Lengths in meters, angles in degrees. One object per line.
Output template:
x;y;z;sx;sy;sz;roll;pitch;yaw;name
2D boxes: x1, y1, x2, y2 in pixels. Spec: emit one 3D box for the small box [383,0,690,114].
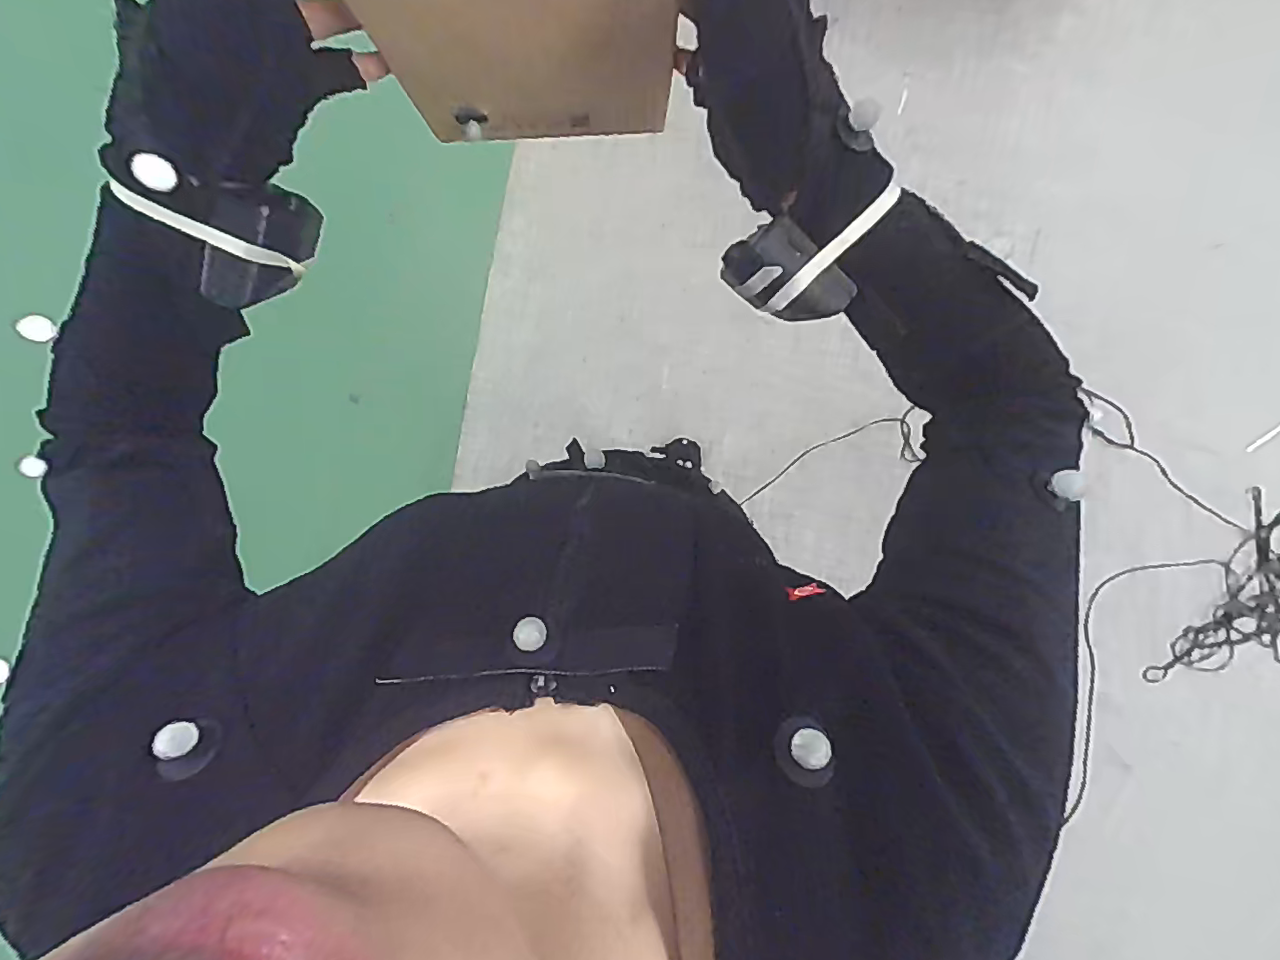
-0.056;-0.333;0.297;0.168;0.176;0.179;-3;93;-1;small box
